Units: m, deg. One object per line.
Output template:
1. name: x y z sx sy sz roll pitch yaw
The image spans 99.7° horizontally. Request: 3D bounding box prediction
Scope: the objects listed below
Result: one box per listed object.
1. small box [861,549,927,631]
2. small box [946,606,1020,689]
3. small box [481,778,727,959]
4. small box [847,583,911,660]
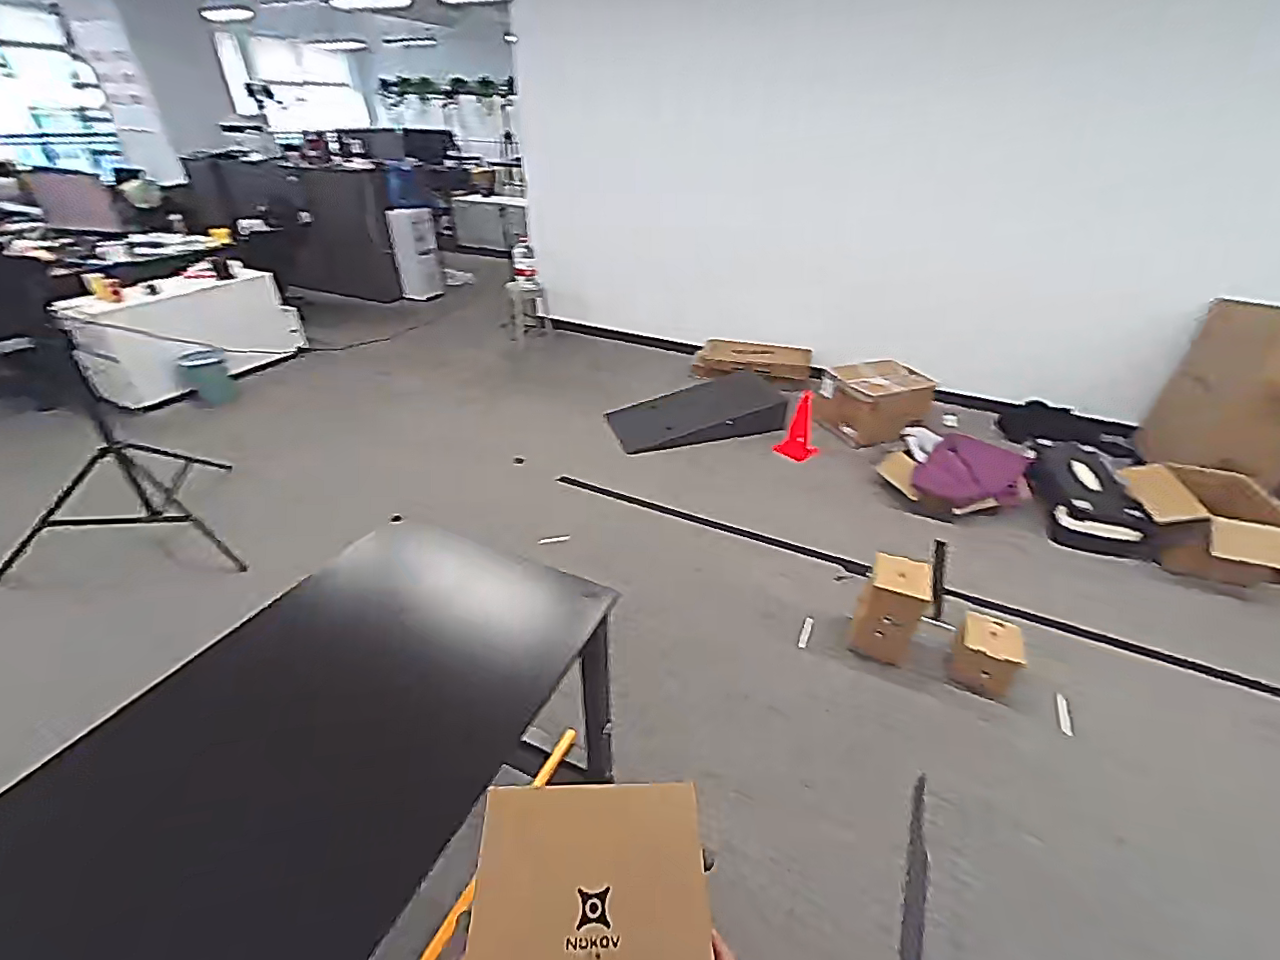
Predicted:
1. small box: 0.836 0.363 1.788 0.168 0.176 0.179 12 37 18
2. small box: 1.136 0.559 1.799 0.168 0.176 0.179 15 37 21
3. small box: -0.031 0.359 0.426 0.168 0.176 0.179 2 43 -5
4. small box: 0.833 0.496 1.882 0.179 0.176 0.168 15 37 19
